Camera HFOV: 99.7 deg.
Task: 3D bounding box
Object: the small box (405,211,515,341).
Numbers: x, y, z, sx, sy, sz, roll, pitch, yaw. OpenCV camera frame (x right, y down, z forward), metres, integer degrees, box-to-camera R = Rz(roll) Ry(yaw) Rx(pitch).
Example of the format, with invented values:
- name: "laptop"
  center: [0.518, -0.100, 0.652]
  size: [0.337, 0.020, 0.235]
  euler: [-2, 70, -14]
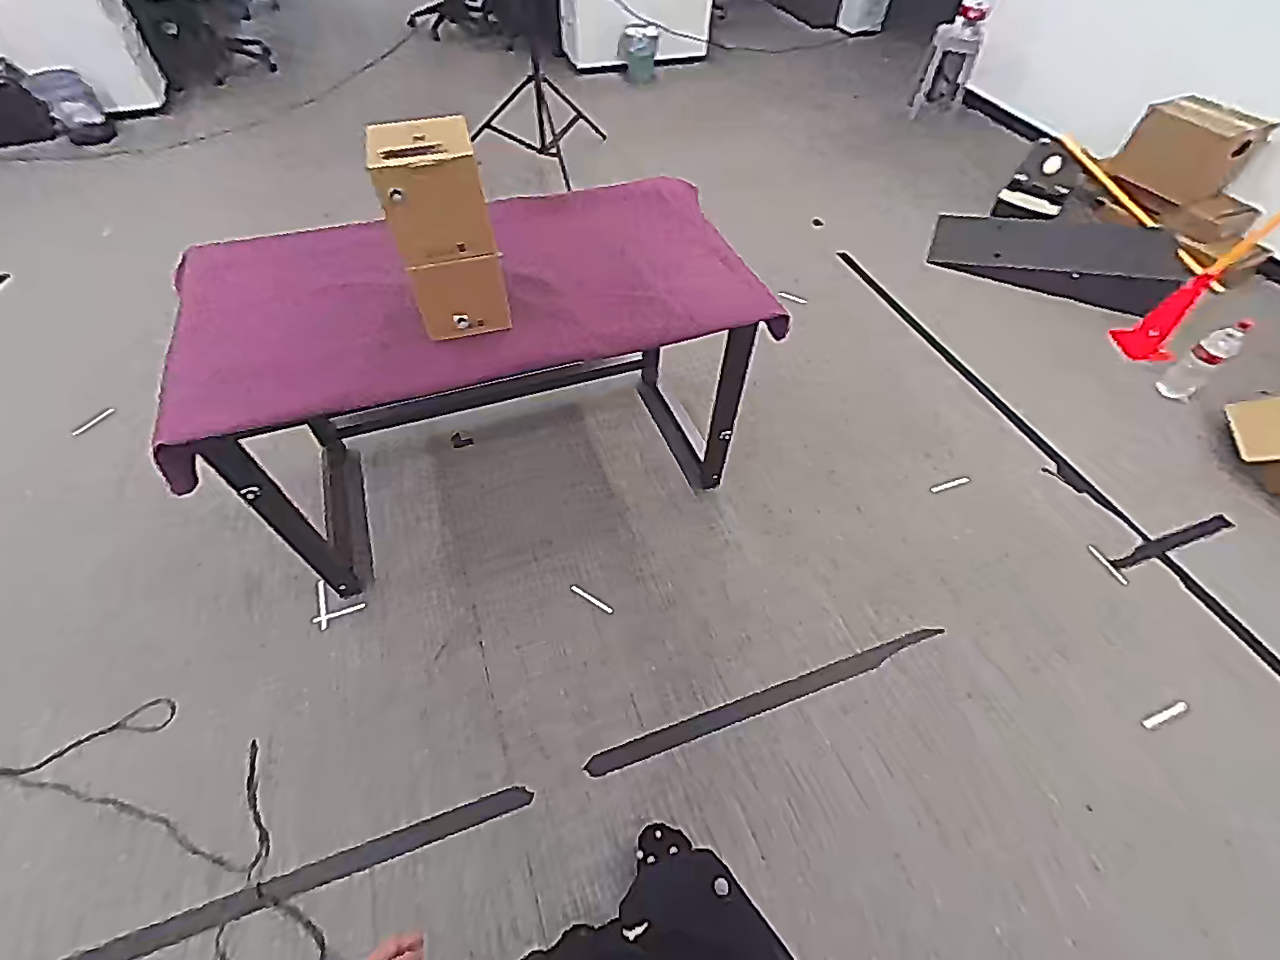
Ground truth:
- name: "small box"
  center: [-0.359, -0.409, 1.088]
  size: [0.168, 0.176, 0.179]
  euler: [-14, 56, -11]
